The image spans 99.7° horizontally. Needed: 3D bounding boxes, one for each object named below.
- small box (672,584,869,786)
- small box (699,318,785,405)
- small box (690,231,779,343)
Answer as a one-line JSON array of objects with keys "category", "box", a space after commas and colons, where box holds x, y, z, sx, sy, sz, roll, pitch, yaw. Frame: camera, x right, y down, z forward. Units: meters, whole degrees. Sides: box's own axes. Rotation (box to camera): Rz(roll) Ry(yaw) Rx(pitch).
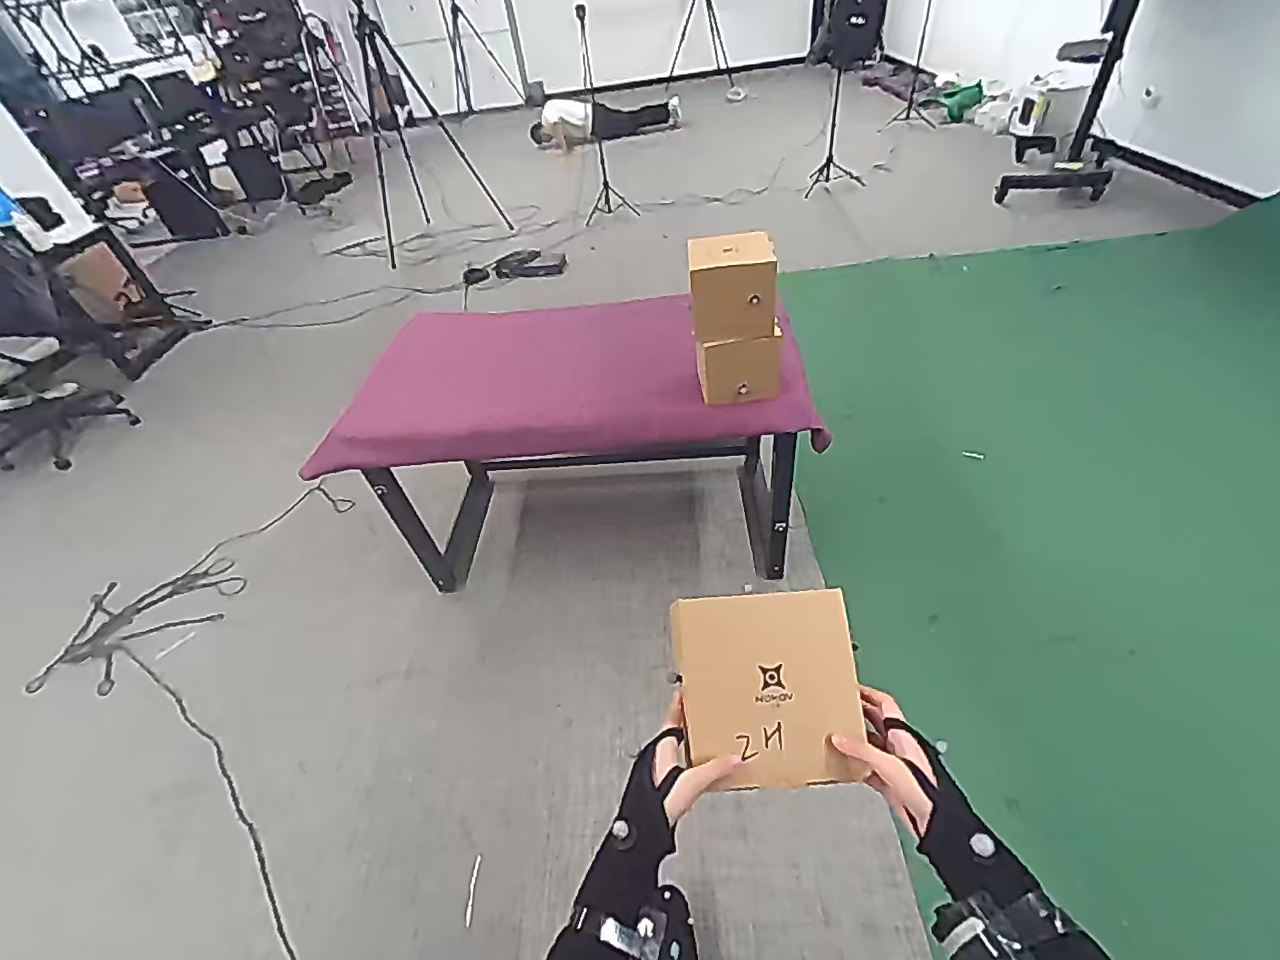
[{"category": "small box", "box": [0.124, 0.214, 0.591, 0.168, 0.176, 0.179, -4, 74, 1]}, {"category": "small box", "box": [0.234, -0.297, 1.286, 0.179, 0.176, 0.168, -7, 43, 3]}, {"category": "small box", "box": [0.202, -0.418, 1.180, 0.179, 0.176, 0.168, -4, 44, 8]}]
